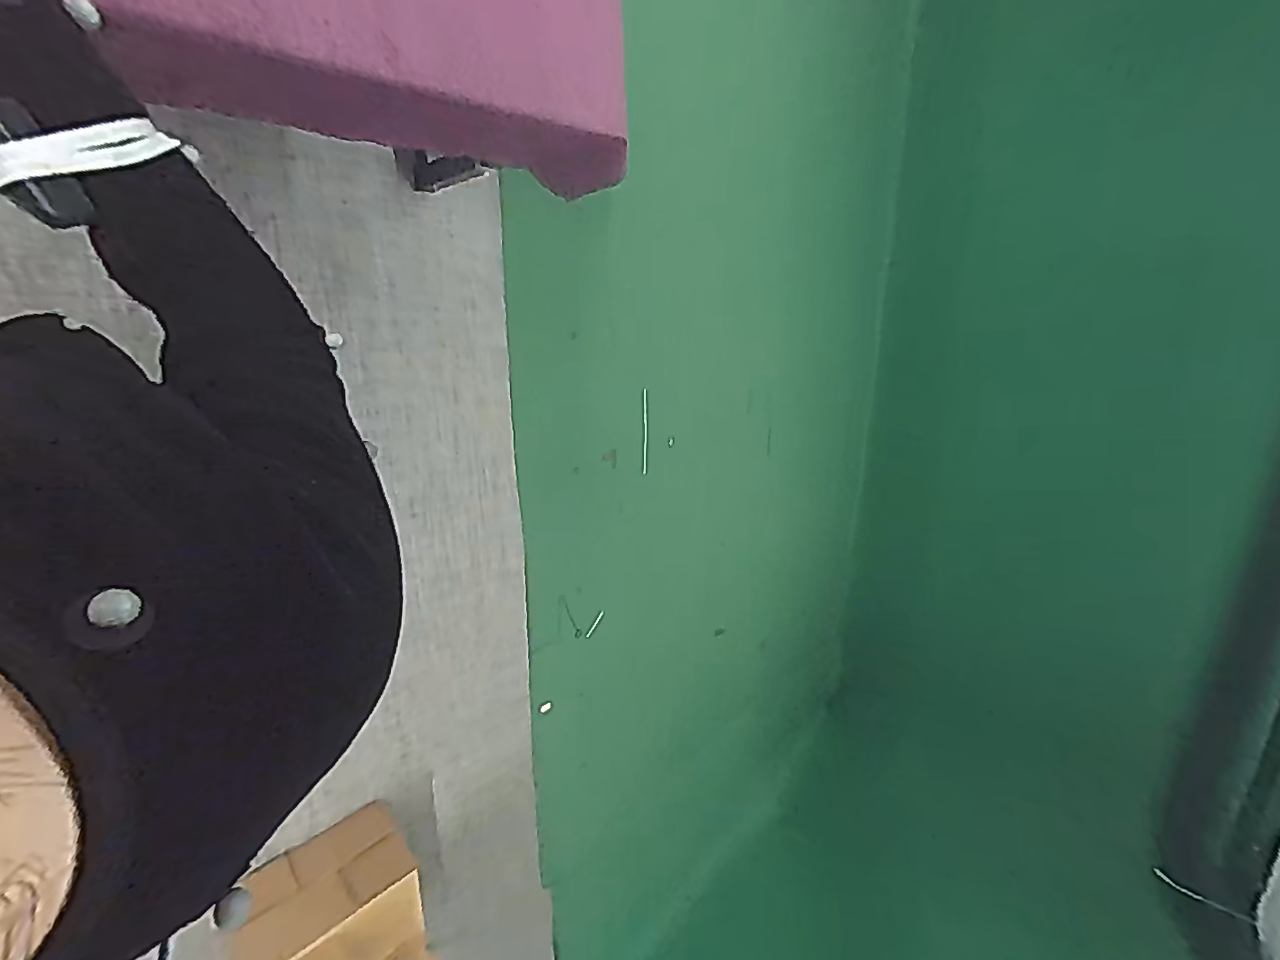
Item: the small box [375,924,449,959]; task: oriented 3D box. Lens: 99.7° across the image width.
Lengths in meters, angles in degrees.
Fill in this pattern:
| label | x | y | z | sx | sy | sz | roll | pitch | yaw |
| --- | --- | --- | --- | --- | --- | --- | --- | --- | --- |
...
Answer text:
| label | x | y | z | sx | sy | sz | roll | pitch | yaw |
| --- | --- | --- | --- | --- | --- | --- | --- | --- | --- |
| small box | -0.617 | 1.382 | 1.475 | 0.168 | 0.176 | 0.179 | -17 | 117 | -46 |
